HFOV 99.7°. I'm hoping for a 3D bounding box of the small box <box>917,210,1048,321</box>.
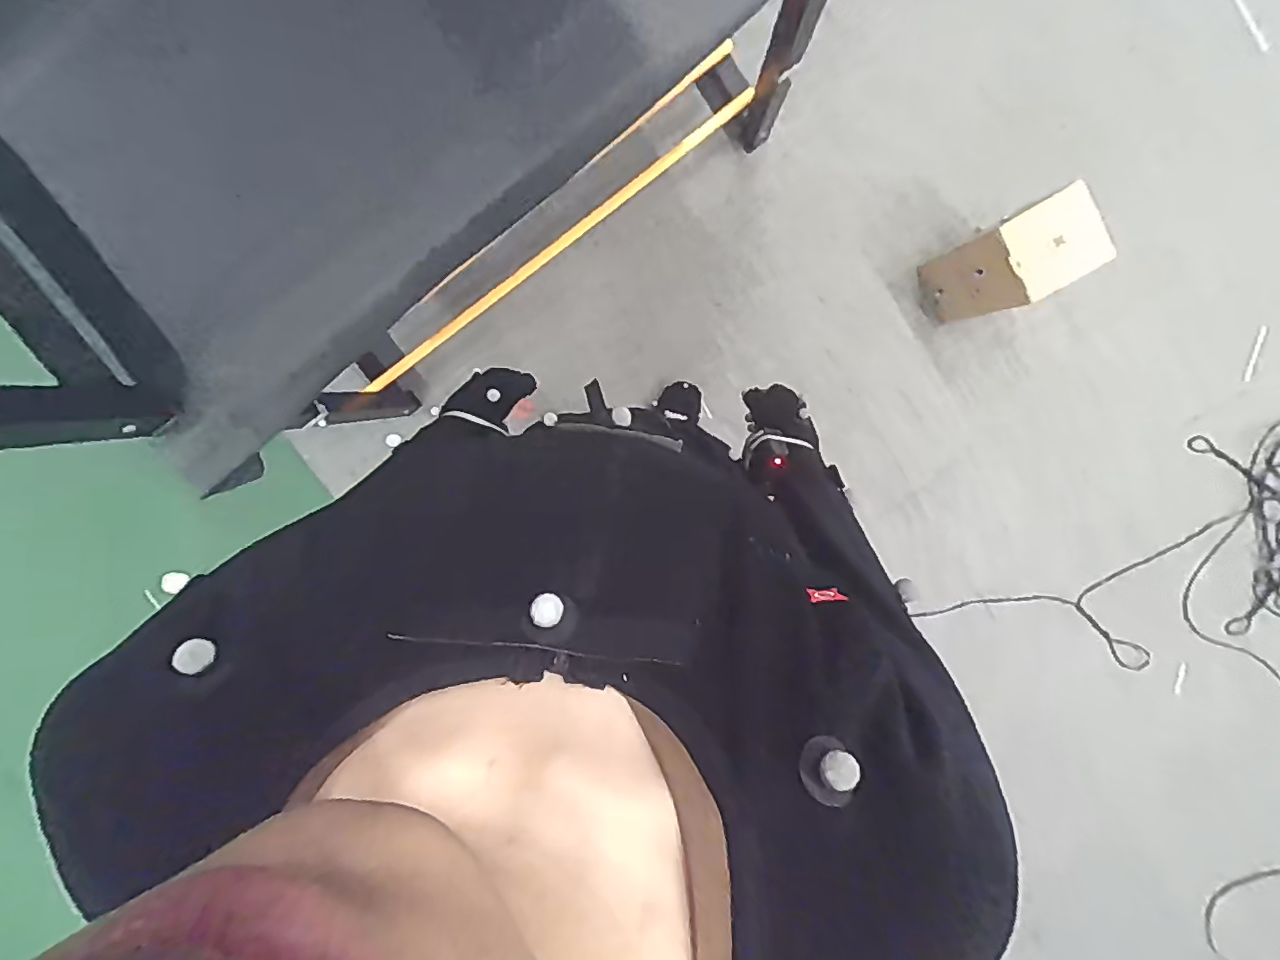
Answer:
[{"bbox_3d":[0.805,-0.501,1.289,0.179,0.176,0.168,-29,97,7],"label":"small box"}]
